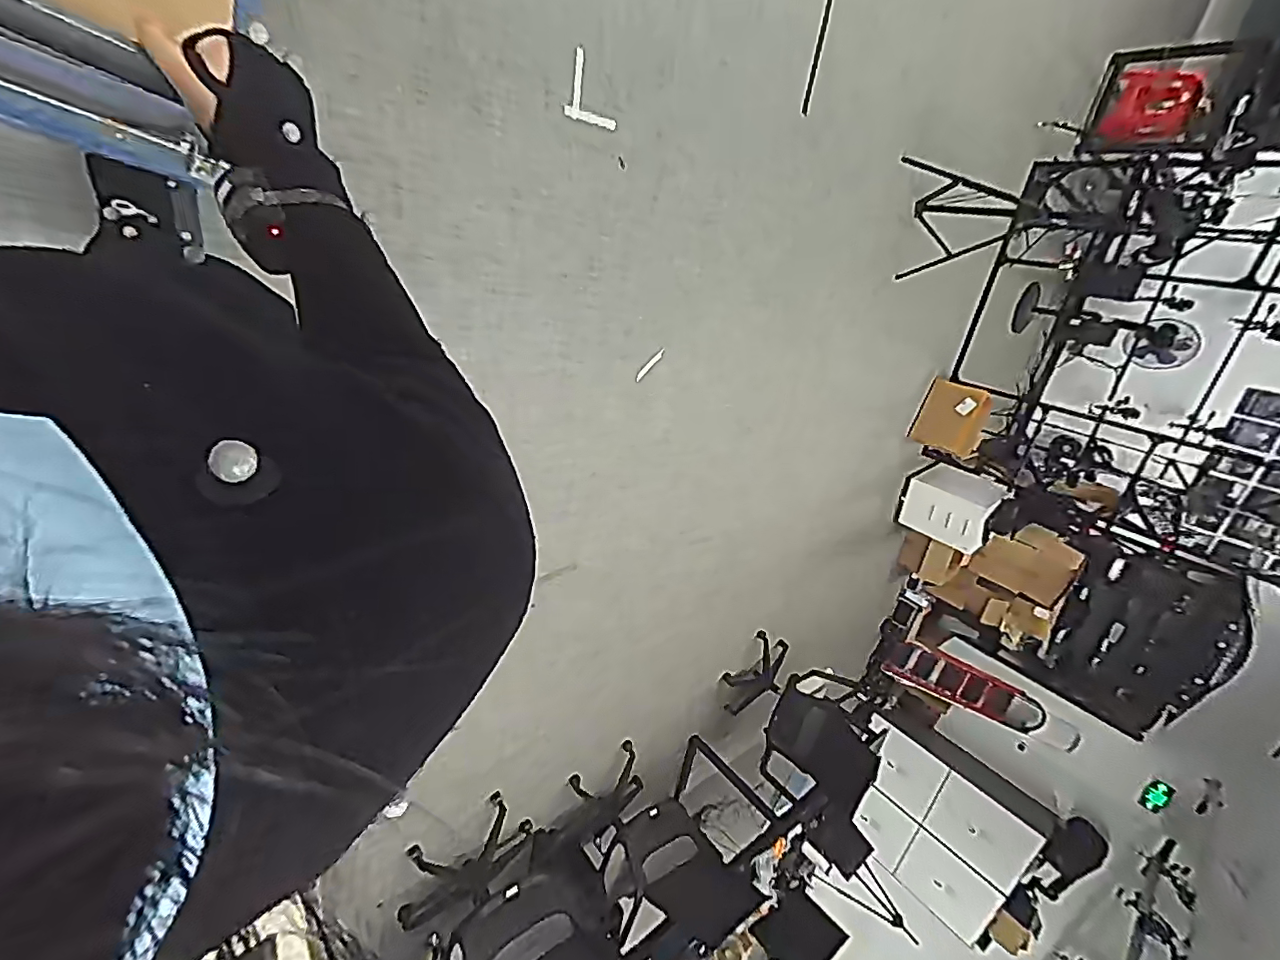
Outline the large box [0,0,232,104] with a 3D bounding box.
[{"bbox_3d":[-0.740,-0.704,0.621,0.408,0.320,0.320,-1,113,-45],"label":"large box"}]
